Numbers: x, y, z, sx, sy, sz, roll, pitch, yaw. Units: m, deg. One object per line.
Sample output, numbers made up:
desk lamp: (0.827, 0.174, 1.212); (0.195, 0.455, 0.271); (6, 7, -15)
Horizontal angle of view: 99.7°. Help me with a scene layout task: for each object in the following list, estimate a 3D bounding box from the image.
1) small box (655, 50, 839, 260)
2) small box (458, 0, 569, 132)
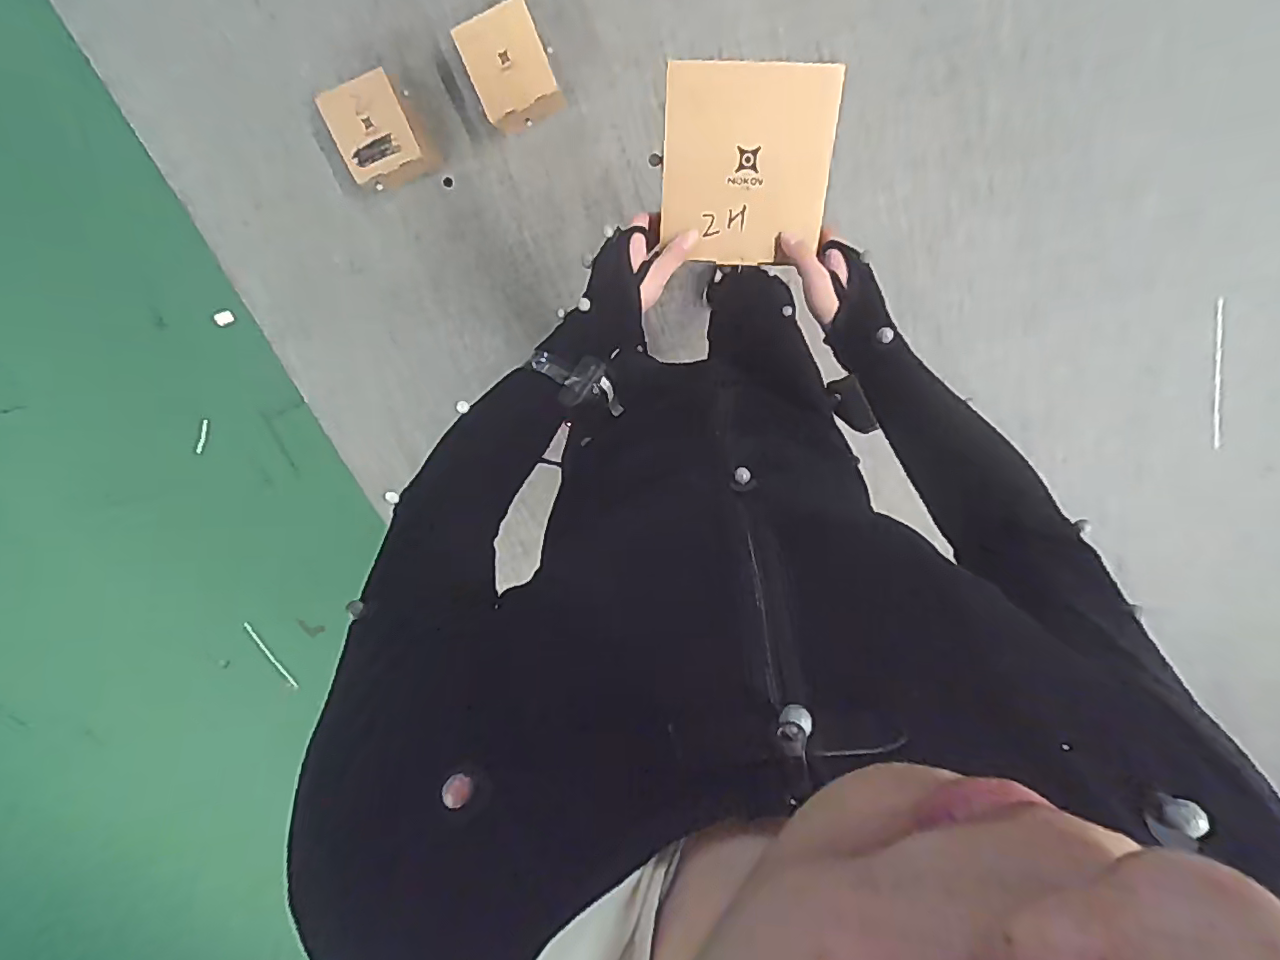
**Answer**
small box: (0.104, -0.349, 0.607); (0.168, 0.176, 0.179); (3, 116, 2)
small box: (-0.270, -0.910, 1.199); (0.168, 0.176, 0.179); (-21, 113, 8)
